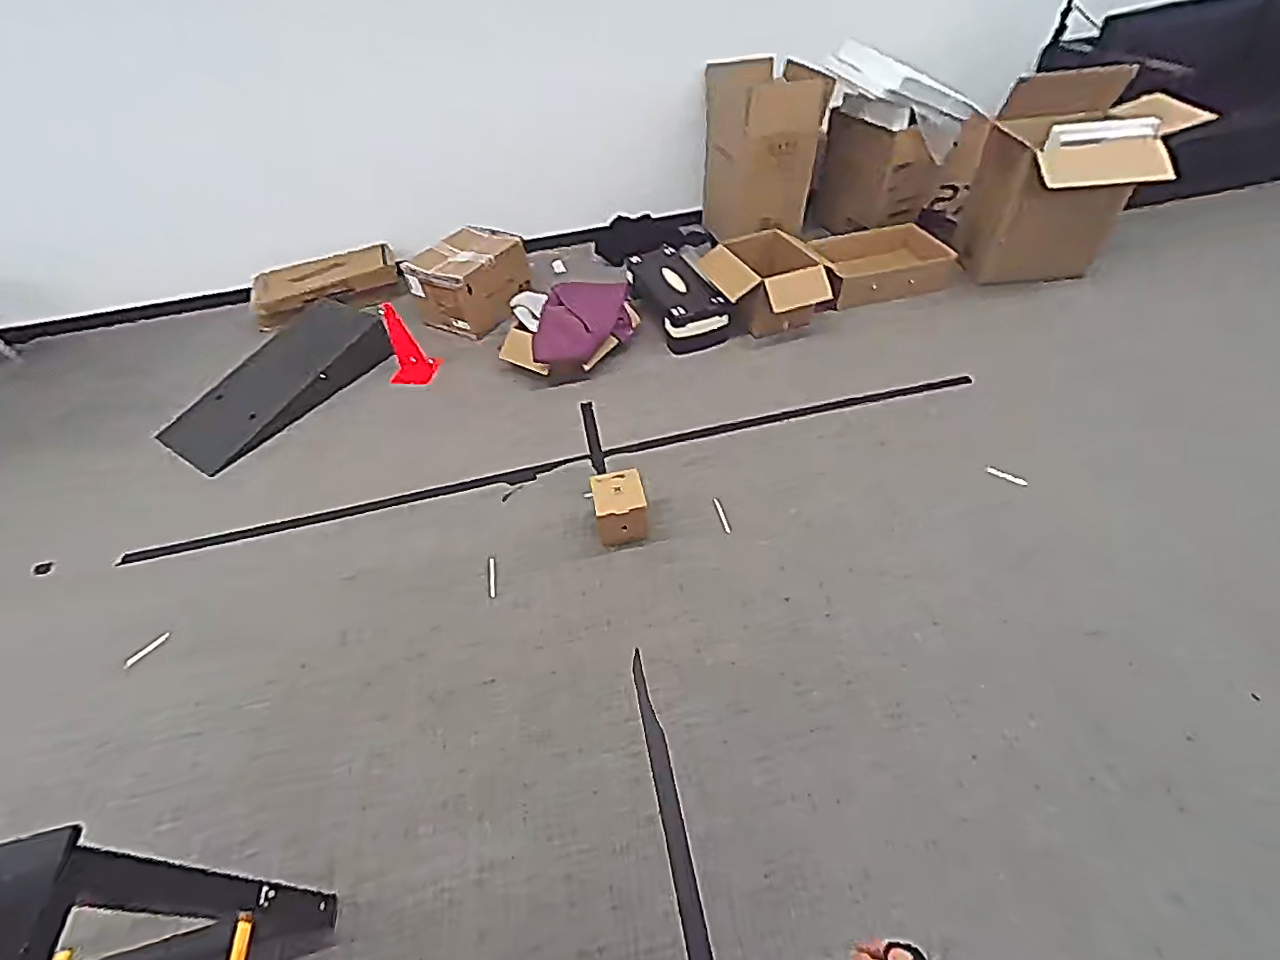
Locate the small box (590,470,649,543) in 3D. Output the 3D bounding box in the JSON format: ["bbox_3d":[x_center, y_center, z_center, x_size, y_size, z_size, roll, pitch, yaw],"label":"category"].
[{"bbox_3d":[-0.067,0.097,1.829,0.168,0.176,0.179,-11,49,-4],"label":"small box"}]
